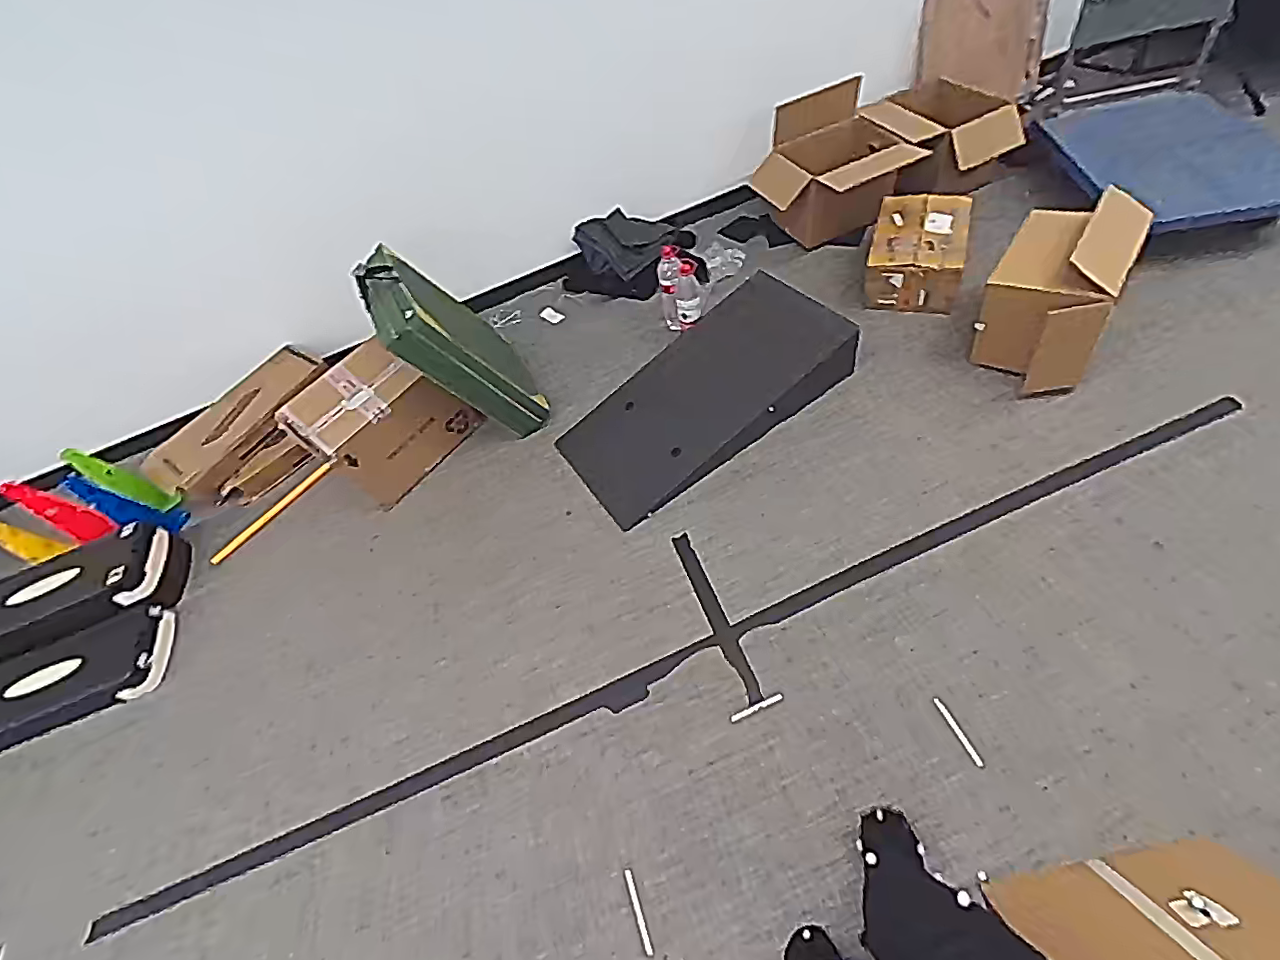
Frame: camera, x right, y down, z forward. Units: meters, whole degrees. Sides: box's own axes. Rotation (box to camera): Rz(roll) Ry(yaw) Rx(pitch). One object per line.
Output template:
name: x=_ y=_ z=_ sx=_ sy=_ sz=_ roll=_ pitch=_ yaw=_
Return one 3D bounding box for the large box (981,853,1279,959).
large box: x=0.648 y=0.670 z=0.545 sx=0.320 sy=0.408 sz=0.320 roll=-16 pitch=78 yaw=6
